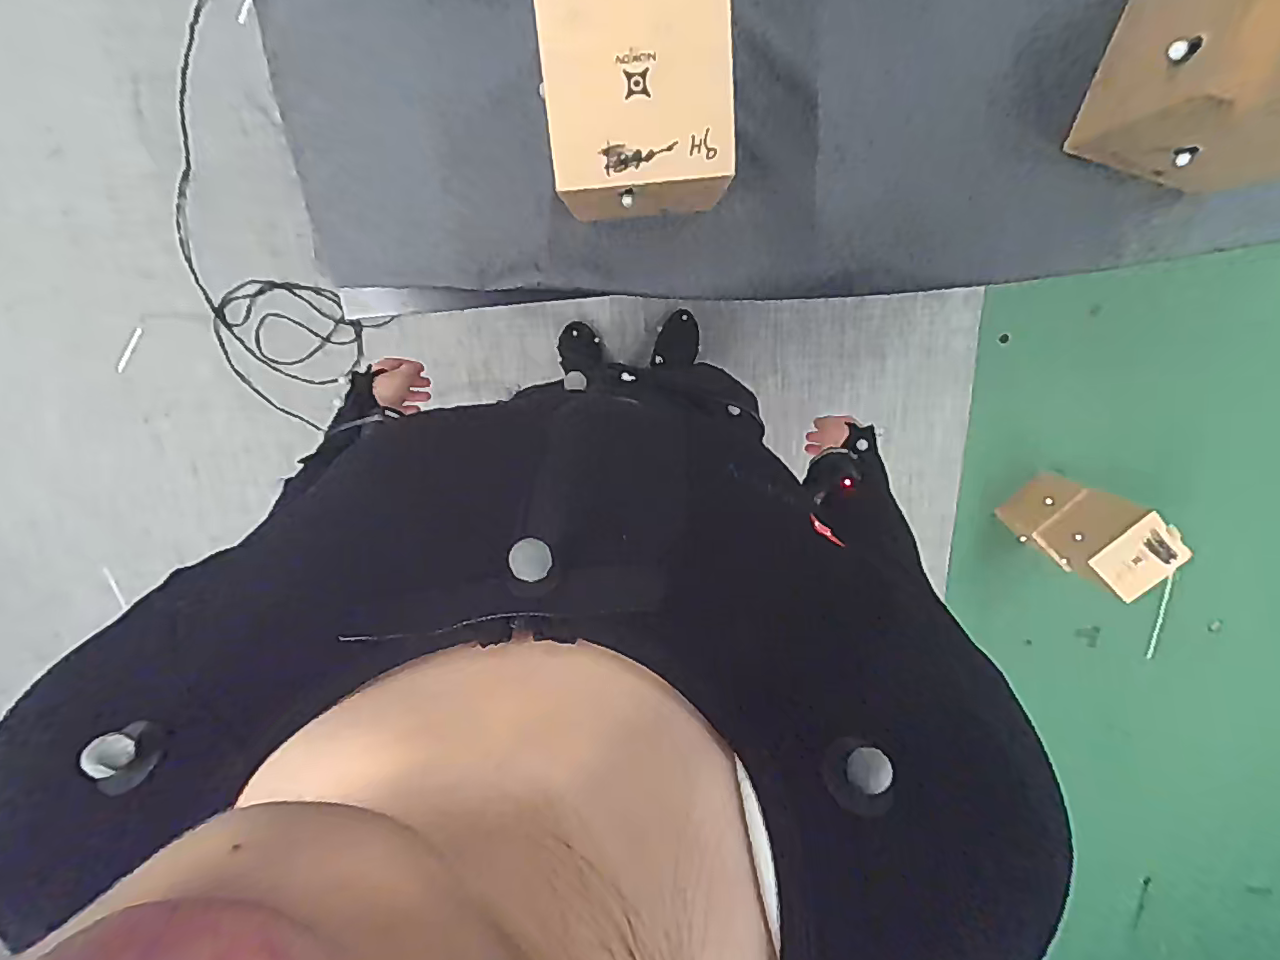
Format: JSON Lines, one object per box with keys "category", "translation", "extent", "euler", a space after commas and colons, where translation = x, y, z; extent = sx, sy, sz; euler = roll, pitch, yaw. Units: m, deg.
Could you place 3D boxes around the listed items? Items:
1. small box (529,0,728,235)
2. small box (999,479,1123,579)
{"category": "small box", "translation": [-0.008, -0.360, 0.544], "extent": [0.168, 0.176, 0.179], "euler": [-4, 106, 2]}
{"category": "small box", "translation": [1.117, 0.126, 1.457], "extent": [0.168, 0.176, 0.179], "euler": [40, 104, -11]}
